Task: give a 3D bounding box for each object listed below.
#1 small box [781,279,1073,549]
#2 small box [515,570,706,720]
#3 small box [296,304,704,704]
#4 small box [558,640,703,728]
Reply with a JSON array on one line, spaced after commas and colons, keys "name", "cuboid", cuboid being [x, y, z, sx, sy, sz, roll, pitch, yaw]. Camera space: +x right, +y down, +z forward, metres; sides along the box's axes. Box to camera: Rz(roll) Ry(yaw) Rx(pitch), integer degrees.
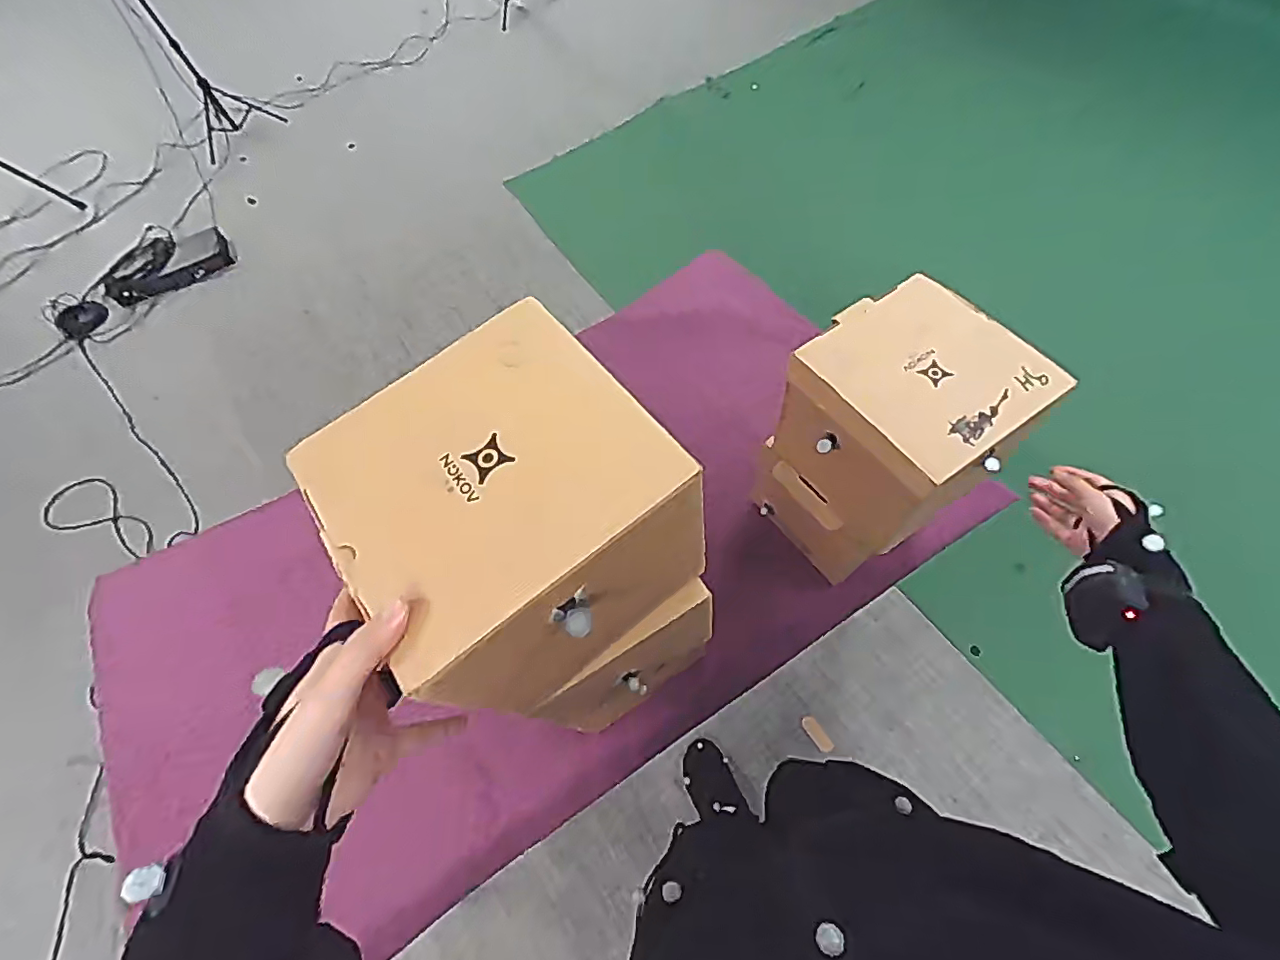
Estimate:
[{"name": "small box", "cuboid": [0.264, -0.060, 0.552, 0.168, 0.176, 0.179, -33, 63, -9]}, {"name": "small box", "cuboid": [-0.048, 0.103, 0.508, 0.168, 0.176, 0.179, -30, 63, -8]}, {"name": "small box", "cuboid": [-0.074, 0.027, 0.366, 0.179, 0.176, 0.168, -37, 65, -10]}, {"name": "small box", "cuboid": [-0.036, 0.177, 0.654, 0.179, 0.176, 0.168, -32, 63, -10]}]
